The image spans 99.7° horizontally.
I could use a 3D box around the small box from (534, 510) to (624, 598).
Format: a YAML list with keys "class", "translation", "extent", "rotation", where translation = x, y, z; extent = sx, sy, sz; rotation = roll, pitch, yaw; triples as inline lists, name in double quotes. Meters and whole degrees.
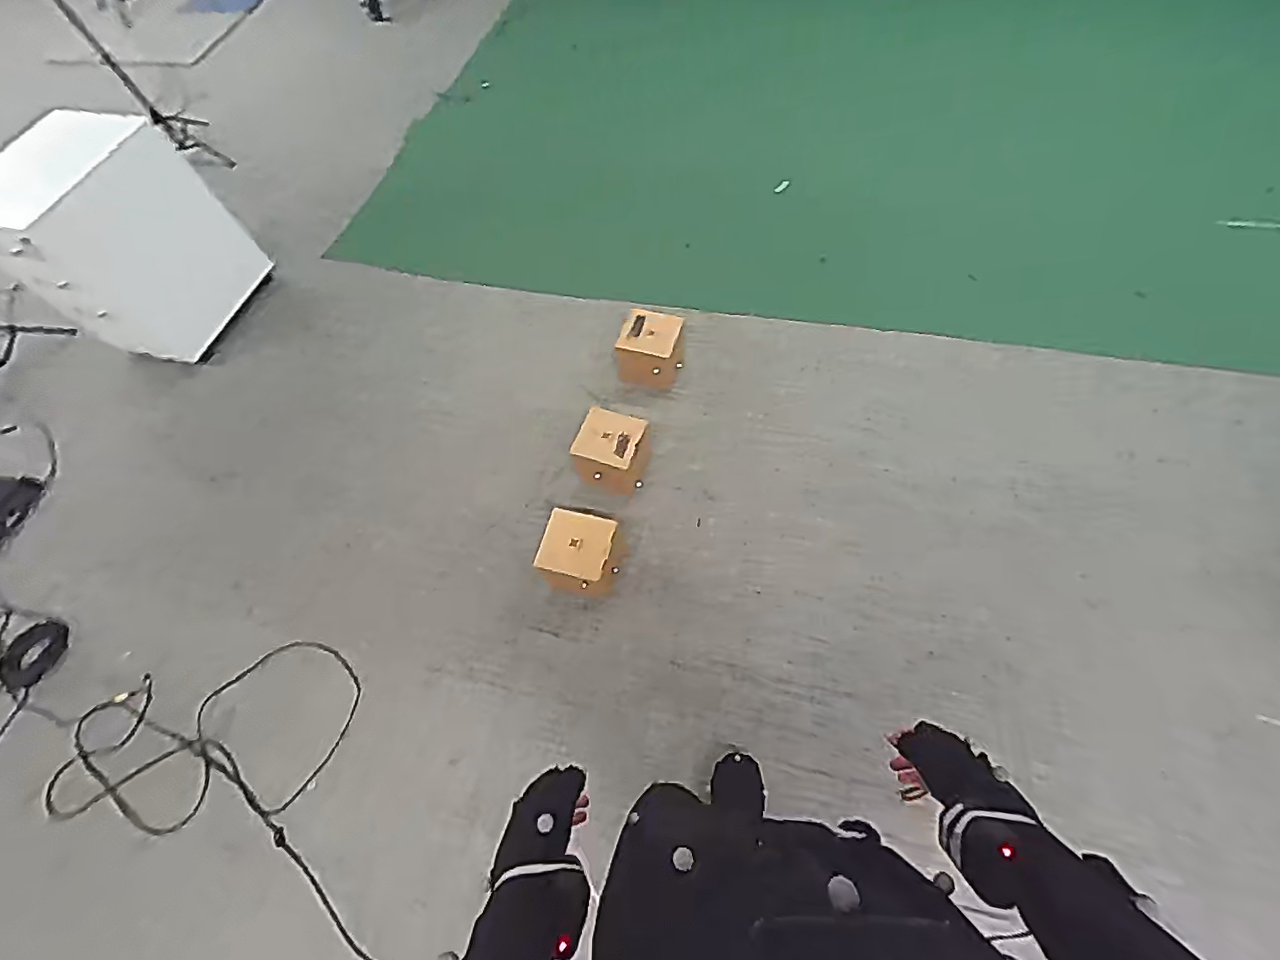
- class: "small box"
  translation: [-0.153, 0.198, 1.425]
  extent: [0.179, 0.176, 0.168]
  rotation: [11, 64, 11]

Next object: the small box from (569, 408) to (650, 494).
- class: "small box"
  translation: [-0.079, -0.077, 1.559]
  extent: [0.179, 0.176, 0.168]
  rotation: [16, 65, 15]
